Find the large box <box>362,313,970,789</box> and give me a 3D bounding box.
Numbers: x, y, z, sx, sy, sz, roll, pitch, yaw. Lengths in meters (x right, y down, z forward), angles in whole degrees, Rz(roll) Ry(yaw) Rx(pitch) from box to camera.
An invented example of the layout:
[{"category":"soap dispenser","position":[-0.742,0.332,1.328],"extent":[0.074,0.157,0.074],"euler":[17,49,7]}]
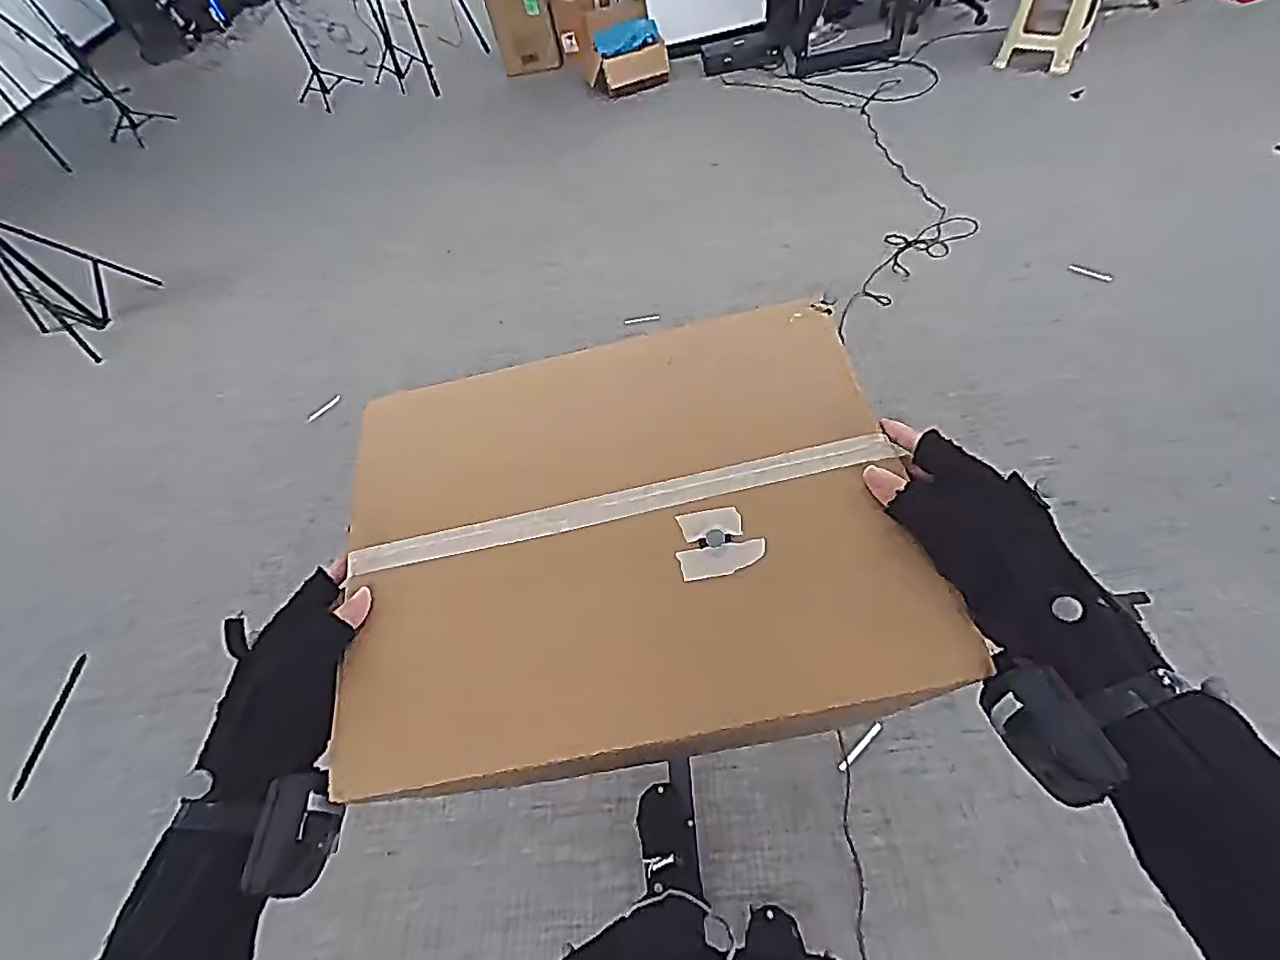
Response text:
[{"category":"large box","position":[0.008,0.095,0.541],"extent":[0.408,0.320,0.320],"euler":[-12,61,2]}]
